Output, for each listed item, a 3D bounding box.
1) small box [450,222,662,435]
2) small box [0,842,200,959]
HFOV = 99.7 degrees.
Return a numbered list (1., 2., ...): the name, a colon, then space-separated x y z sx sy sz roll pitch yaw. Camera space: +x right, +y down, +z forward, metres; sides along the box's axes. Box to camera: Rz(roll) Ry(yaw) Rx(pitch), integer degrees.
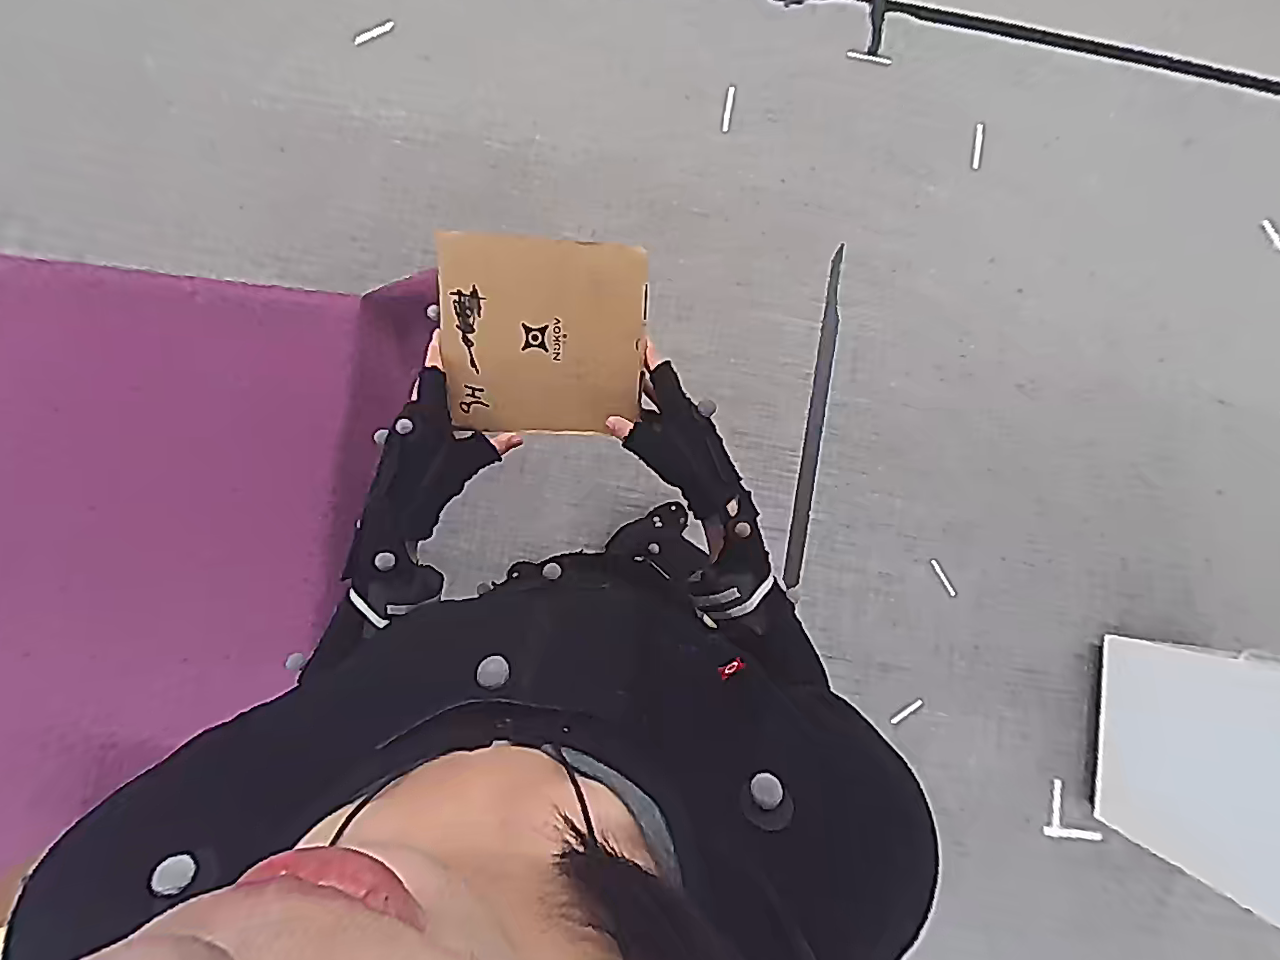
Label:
1. small box: -0.085 -0.141 0.539 0.179 0.176 0.168 2 102 -9
2. small box: -0.679 0.559 0.636 0.179 0.176 0.168 4 85 -4
